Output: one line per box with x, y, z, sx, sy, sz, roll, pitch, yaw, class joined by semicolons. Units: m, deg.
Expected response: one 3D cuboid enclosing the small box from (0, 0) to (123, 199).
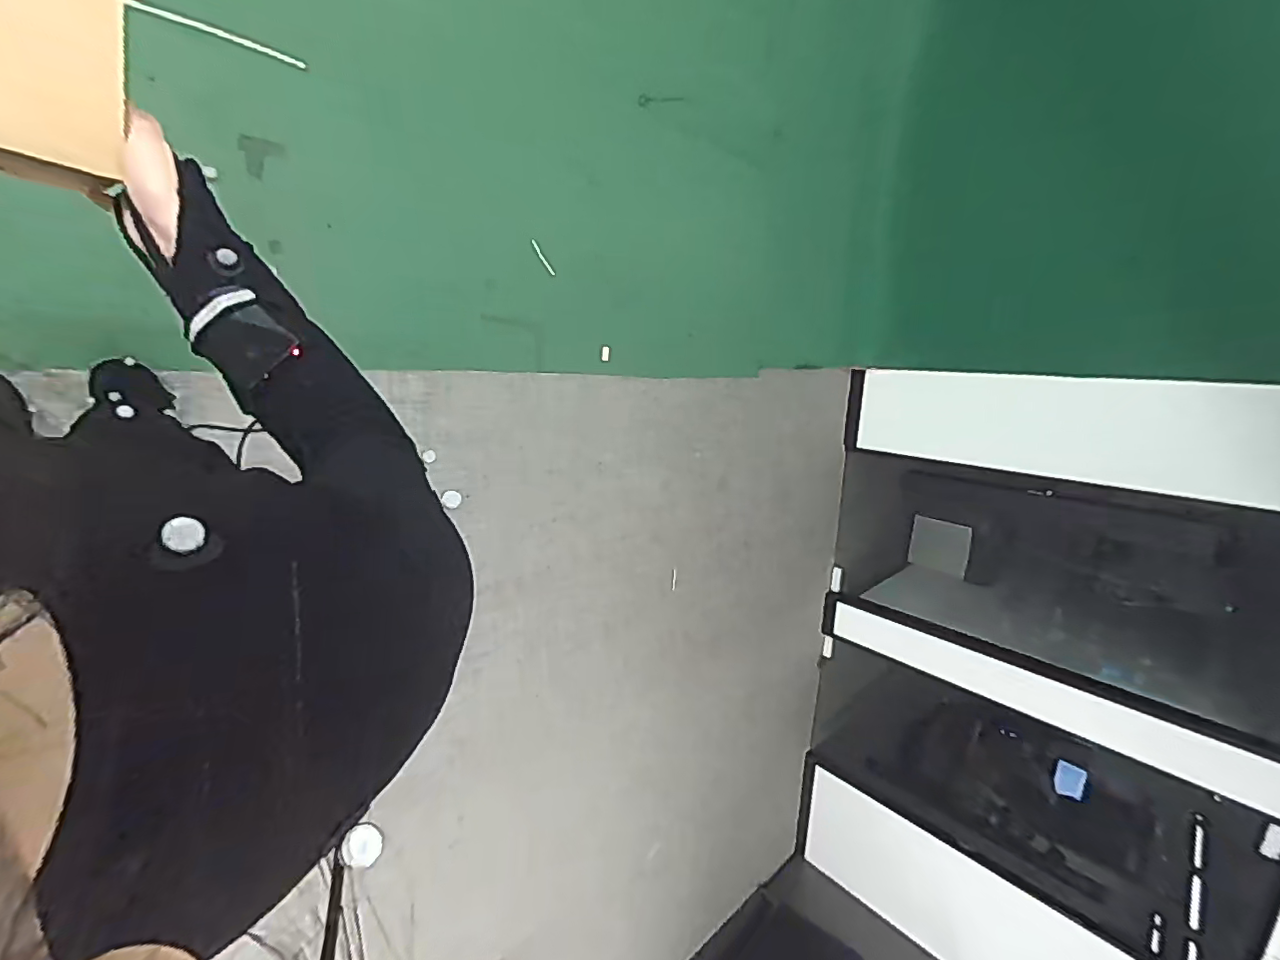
-0.460;-0.302;0.351;0.168;0.176;0.179;-3;106;-50;small box
